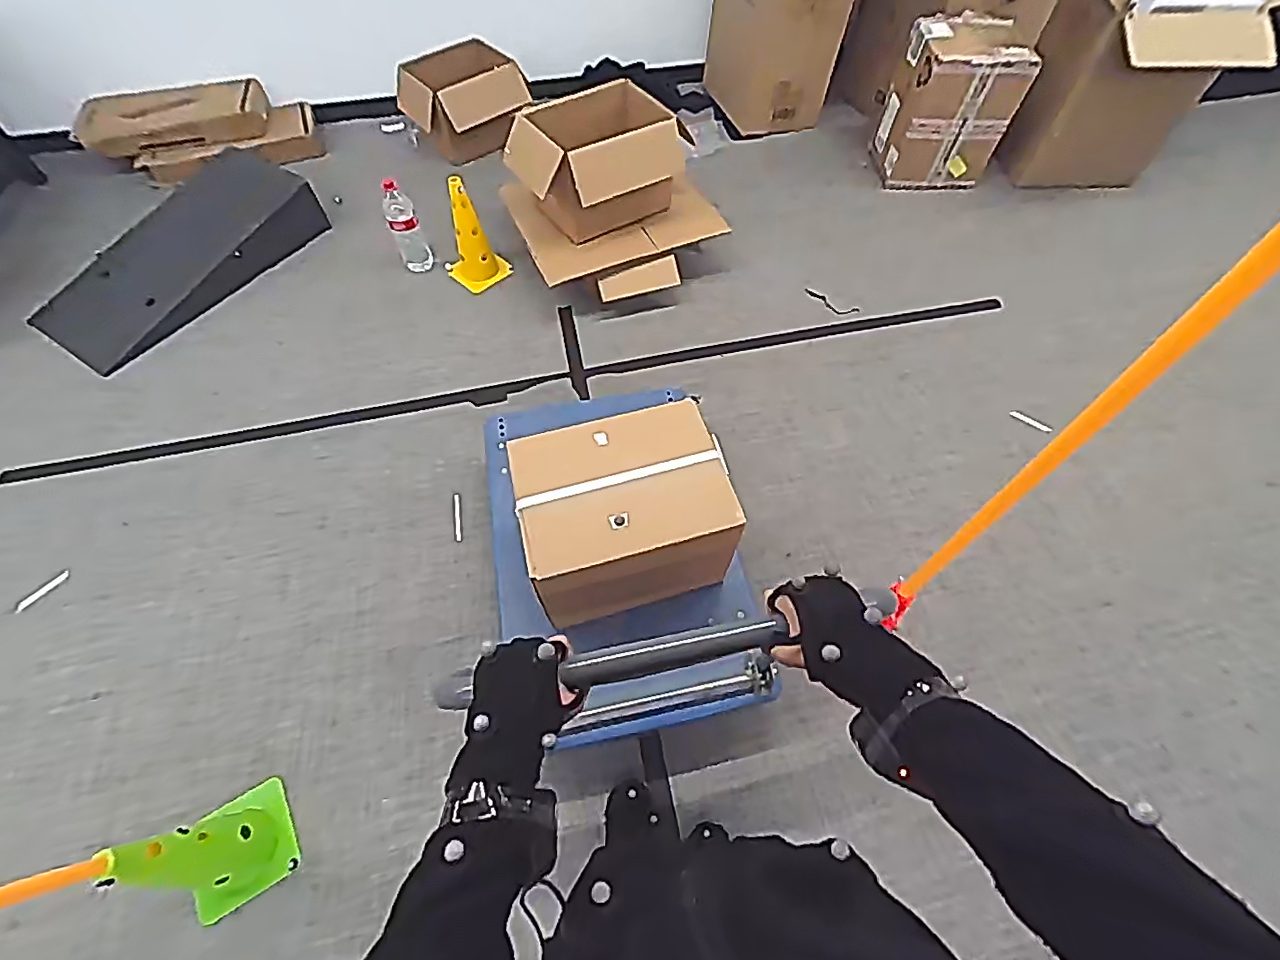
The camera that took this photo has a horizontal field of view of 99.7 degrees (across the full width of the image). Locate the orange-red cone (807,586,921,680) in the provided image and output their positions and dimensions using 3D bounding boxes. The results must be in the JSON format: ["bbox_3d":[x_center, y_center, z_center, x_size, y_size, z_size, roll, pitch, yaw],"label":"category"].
[{"bbox_3d":[0.536,0.312,1.216,0.199,0.360,0.198,-5,60,-4],"label":"orange-red cone"}]
